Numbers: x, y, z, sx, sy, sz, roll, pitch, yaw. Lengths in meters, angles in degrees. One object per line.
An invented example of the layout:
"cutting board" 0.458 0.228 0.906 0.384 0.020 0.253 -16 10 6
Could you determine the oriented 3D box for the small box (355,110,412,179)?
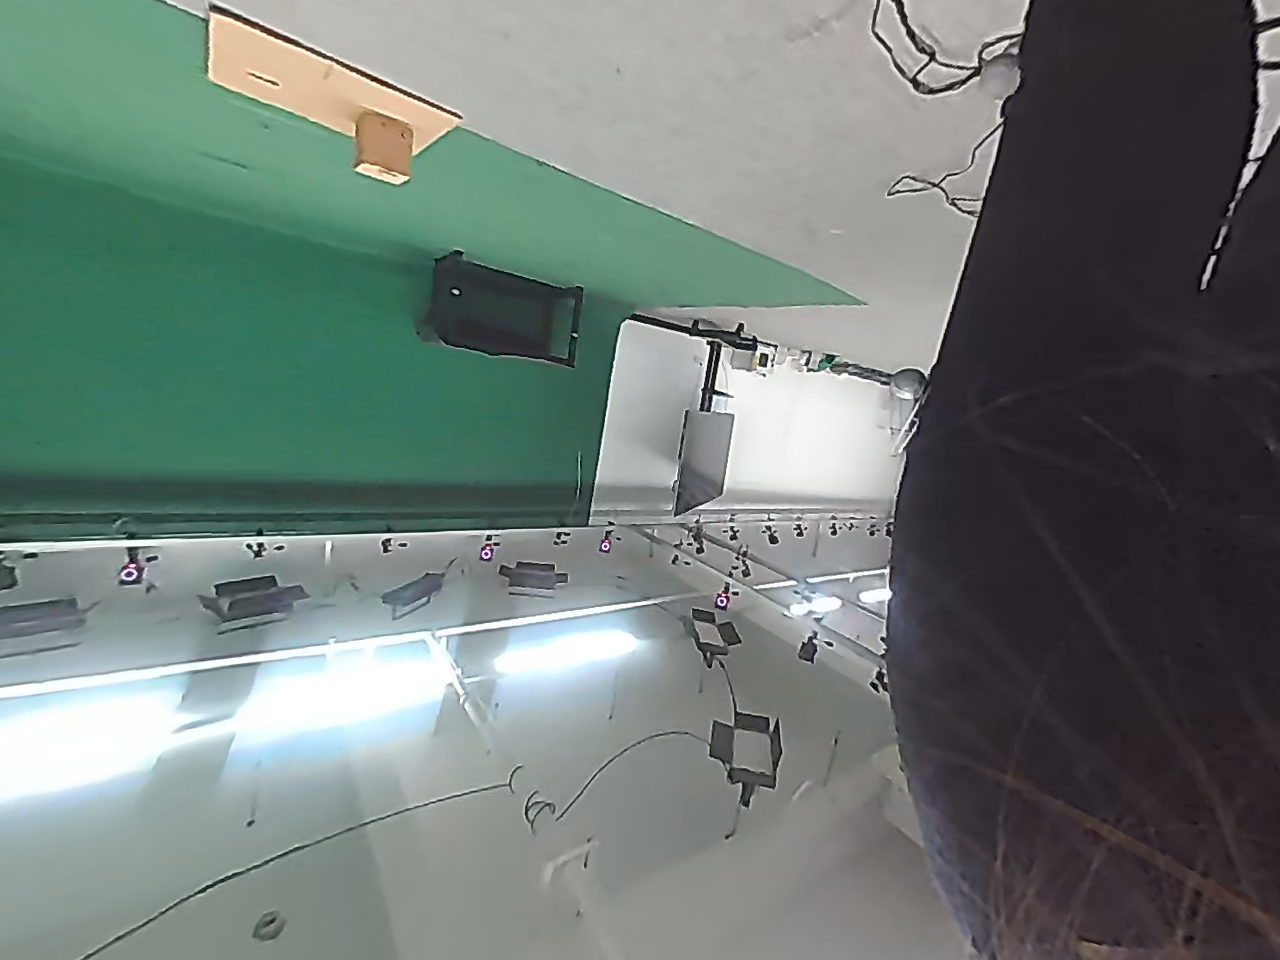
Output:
"small box" -0.981 -1.282 2.067 0.168 0.176 0.179 0 -165 -40
